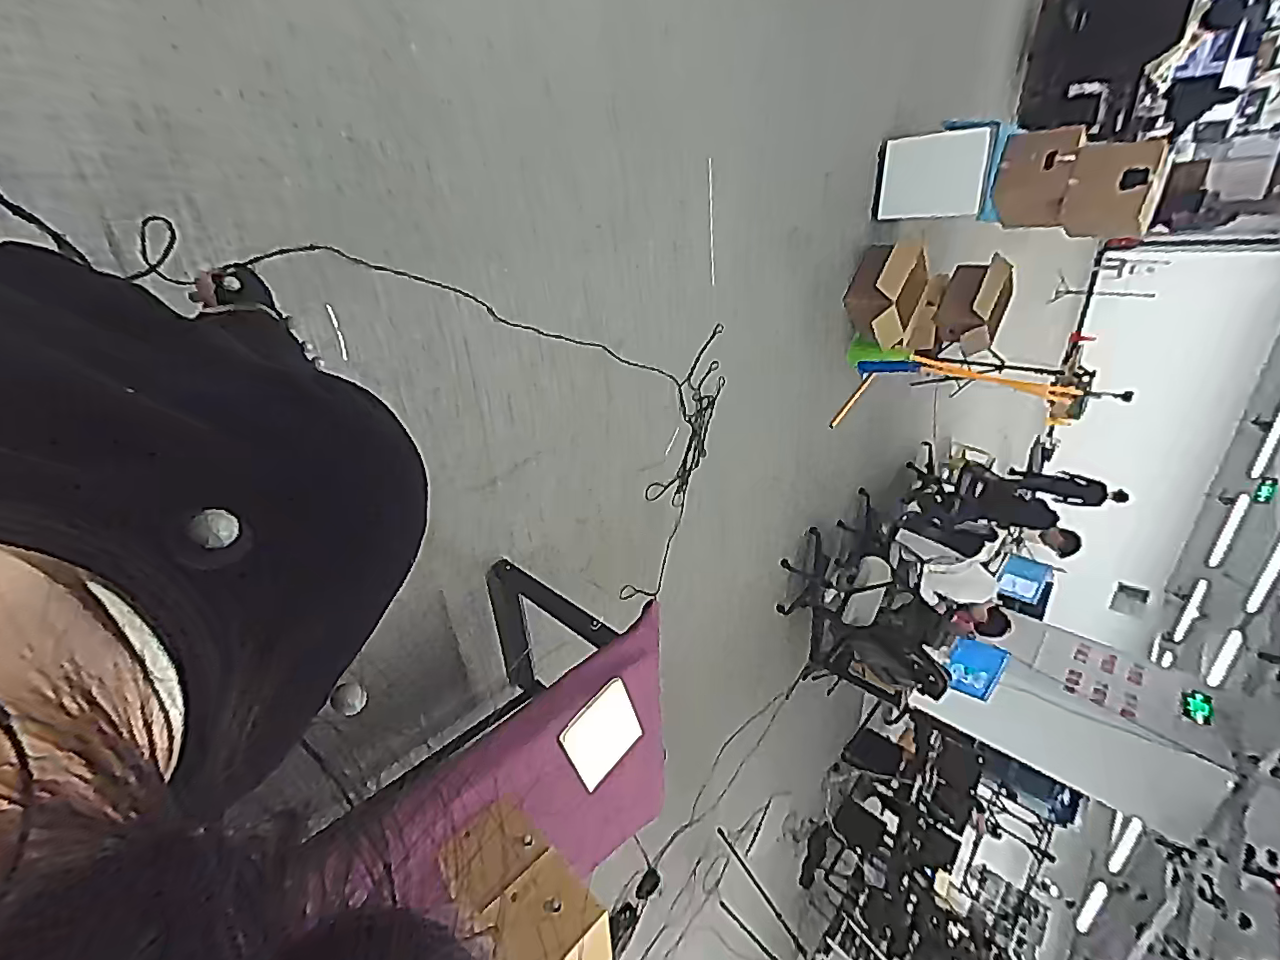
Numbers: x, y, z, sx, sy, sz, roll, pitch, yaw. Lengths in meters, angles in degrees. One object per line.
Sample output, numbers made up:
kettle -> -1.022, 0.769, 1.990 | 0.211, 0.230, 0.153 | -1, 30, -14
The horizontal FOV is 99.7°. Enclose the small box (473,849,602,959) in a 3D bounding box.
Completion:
small box -> -0.189, 0.834, 1.000 | 0.168, 0.176, 0.179 | -26, 126, -40
